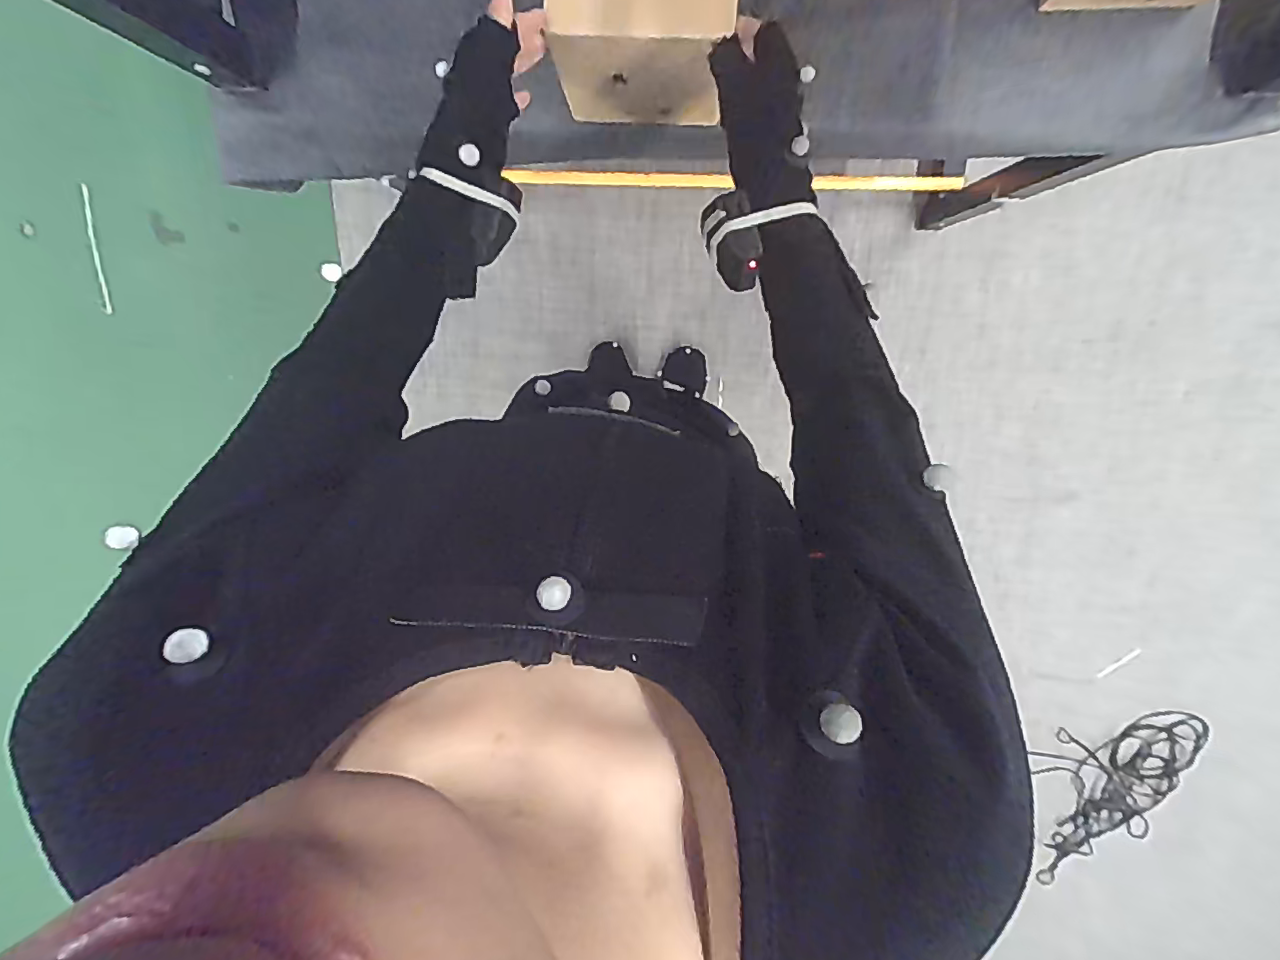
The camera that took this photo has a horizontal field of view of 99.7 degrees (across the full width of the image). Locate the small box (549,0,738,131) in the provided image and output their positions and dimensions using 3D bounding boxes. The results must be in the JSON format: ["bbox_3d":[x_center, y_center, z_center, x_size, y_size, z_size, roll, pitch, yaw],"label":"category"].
[{"bbox_3d":[0.010,-0.470,0.529,0.168,0.176,0.179,3,101,2],"label":"small box"}]
